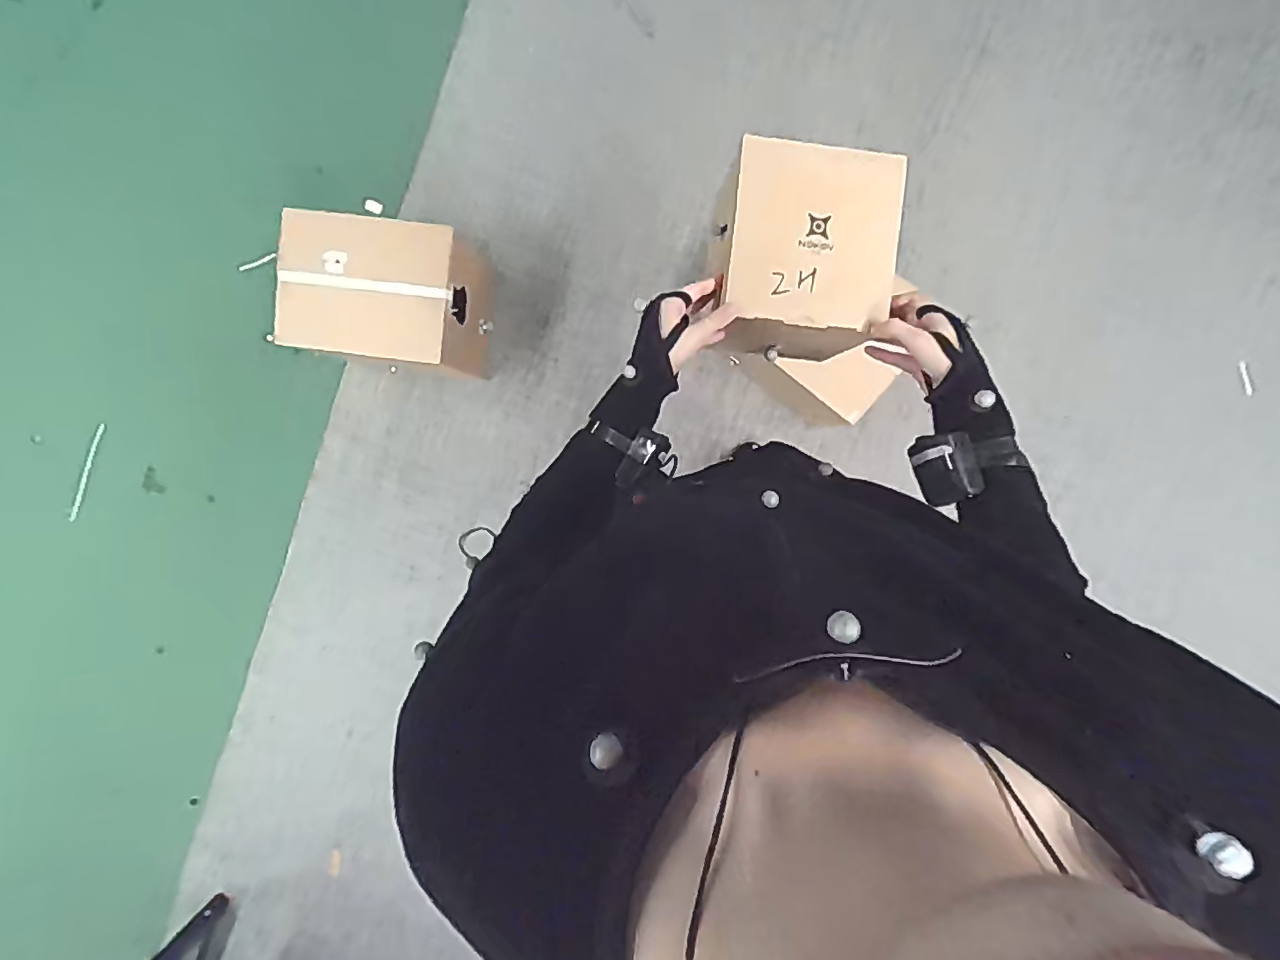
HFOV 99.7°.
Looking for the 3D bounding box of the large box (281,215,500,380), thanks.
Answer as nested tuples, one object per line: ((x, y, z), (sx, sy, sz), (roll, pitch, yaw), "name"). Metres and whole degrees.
((-0.607, -0.442, 1.378), (0.408, 0.320, 0.320), (8, 93, 4), "large box")

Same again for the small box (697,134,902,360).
((0.162, -0.242, 0.603), (0.168, 0.176, 0.179), (5, 94, -3), "small box")
